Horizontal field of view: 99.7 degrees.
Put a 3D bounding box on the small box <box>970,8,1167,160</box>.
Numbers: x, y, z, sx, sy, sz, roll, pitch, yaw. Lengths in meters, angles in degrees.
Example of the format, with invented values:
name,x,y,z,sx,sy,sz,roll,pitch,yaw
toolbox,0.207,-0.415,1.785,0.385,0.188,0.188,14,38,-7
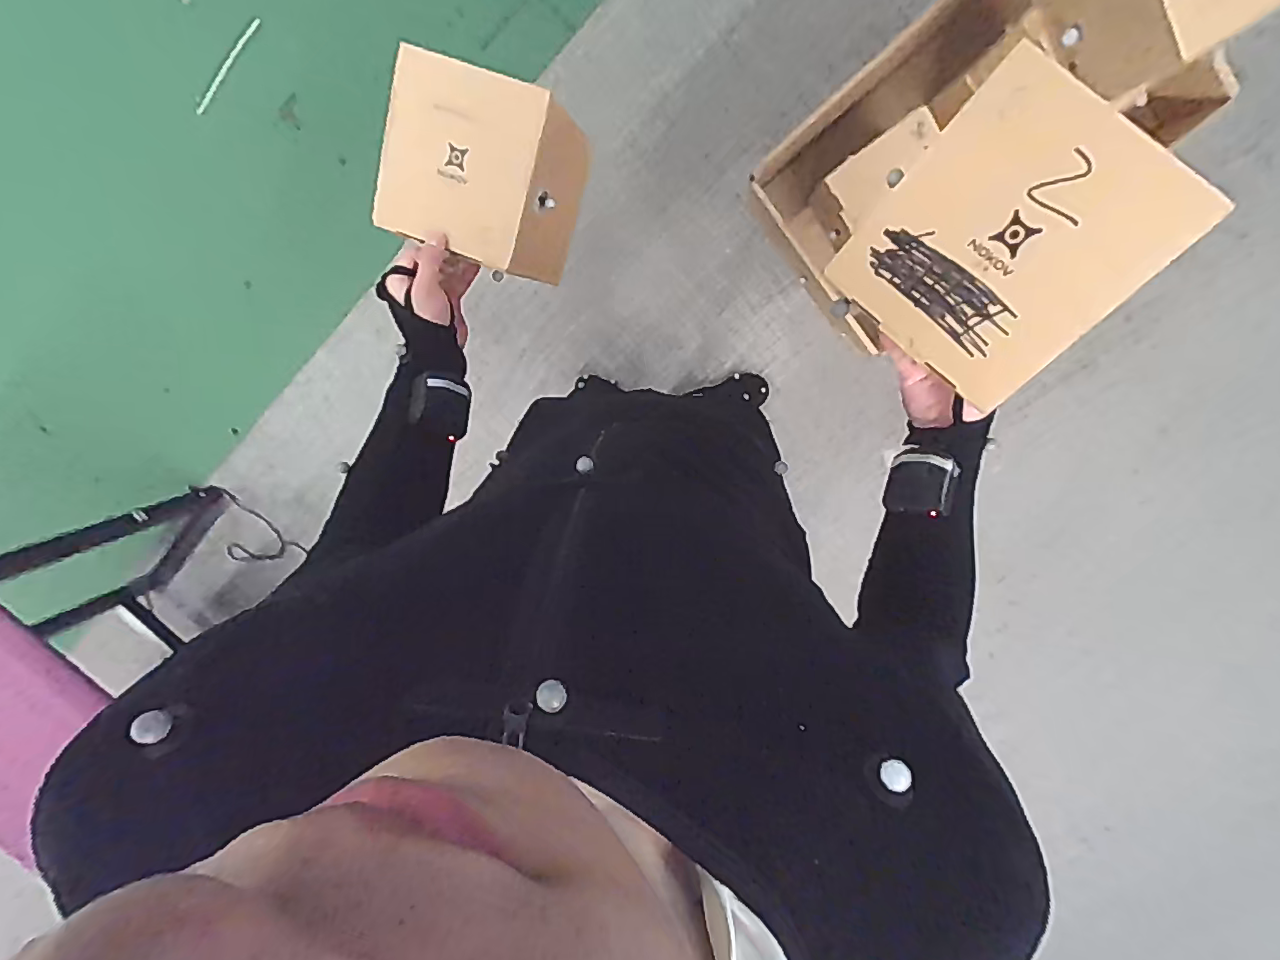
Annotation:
name,x,y,z,sx,sy,sz,roll,pitch,yaw
small box,0.593,-0.575,0.722,0.179,0.176,0.168,-38,98,17

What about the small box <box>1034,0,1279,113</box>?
name,x,y,z,sx,sy,sz,roll,pitch,yaw
small box,0.569,-0.536,0.564,0.179,0.176,0.168,-28,100,16

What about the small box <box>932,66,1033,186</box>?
name,x,y,z,sx,sy,sz,roll,pitch,yaw
small box,0.619,-0.620,0.876,0.179,0.176,0.168,-38,97,17
